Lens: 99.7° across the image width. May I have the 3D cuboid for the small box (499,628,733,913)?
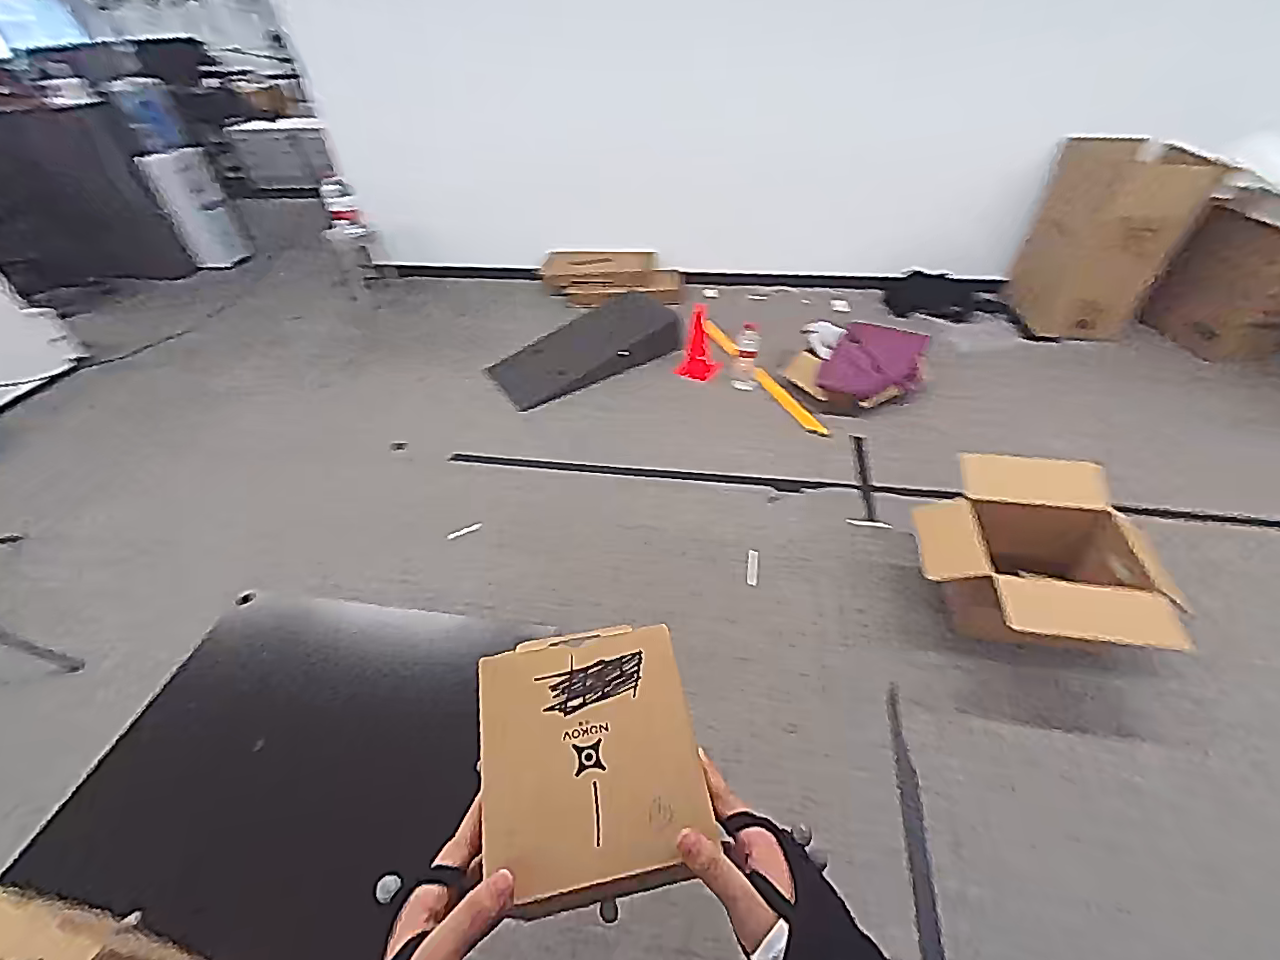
[{"bbox_3d":[-0.028,0.260,0.485,0.168,0.176,0.179,-9,50,-6],"label":"small box"}]
